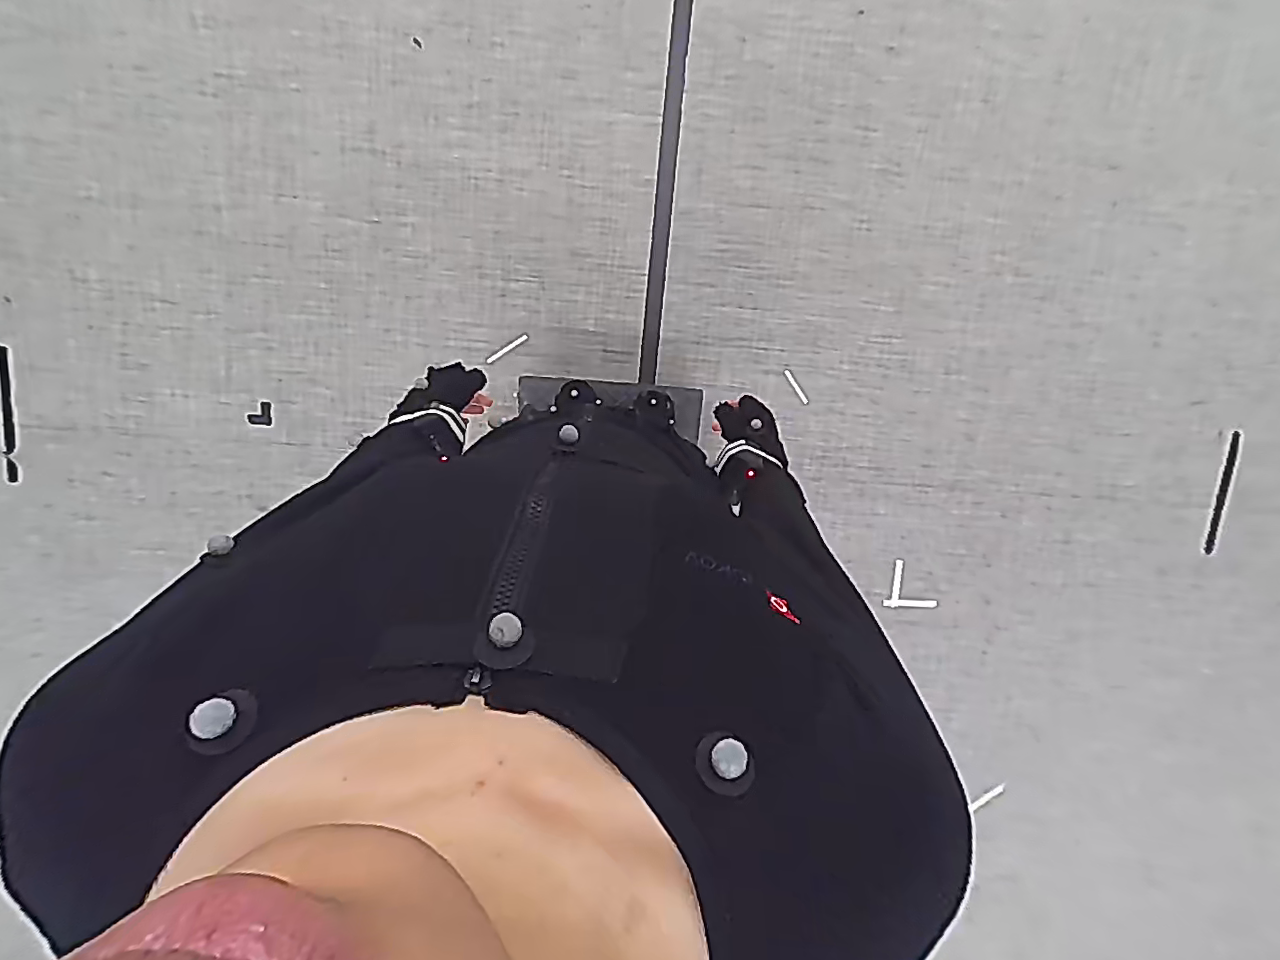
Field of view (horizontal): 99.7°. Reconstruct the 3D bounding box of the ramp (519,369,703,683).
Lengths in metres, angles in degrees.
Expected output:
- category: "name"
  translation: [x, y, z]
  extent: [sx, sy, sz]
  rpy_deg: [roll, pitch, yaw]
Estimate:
- category: "ramp"
  translation: [-0.106, 0.187, 1.594]
  extent: [0.509, 0.206, 0.991]
  rpy_deg: [2, 101, -3]
